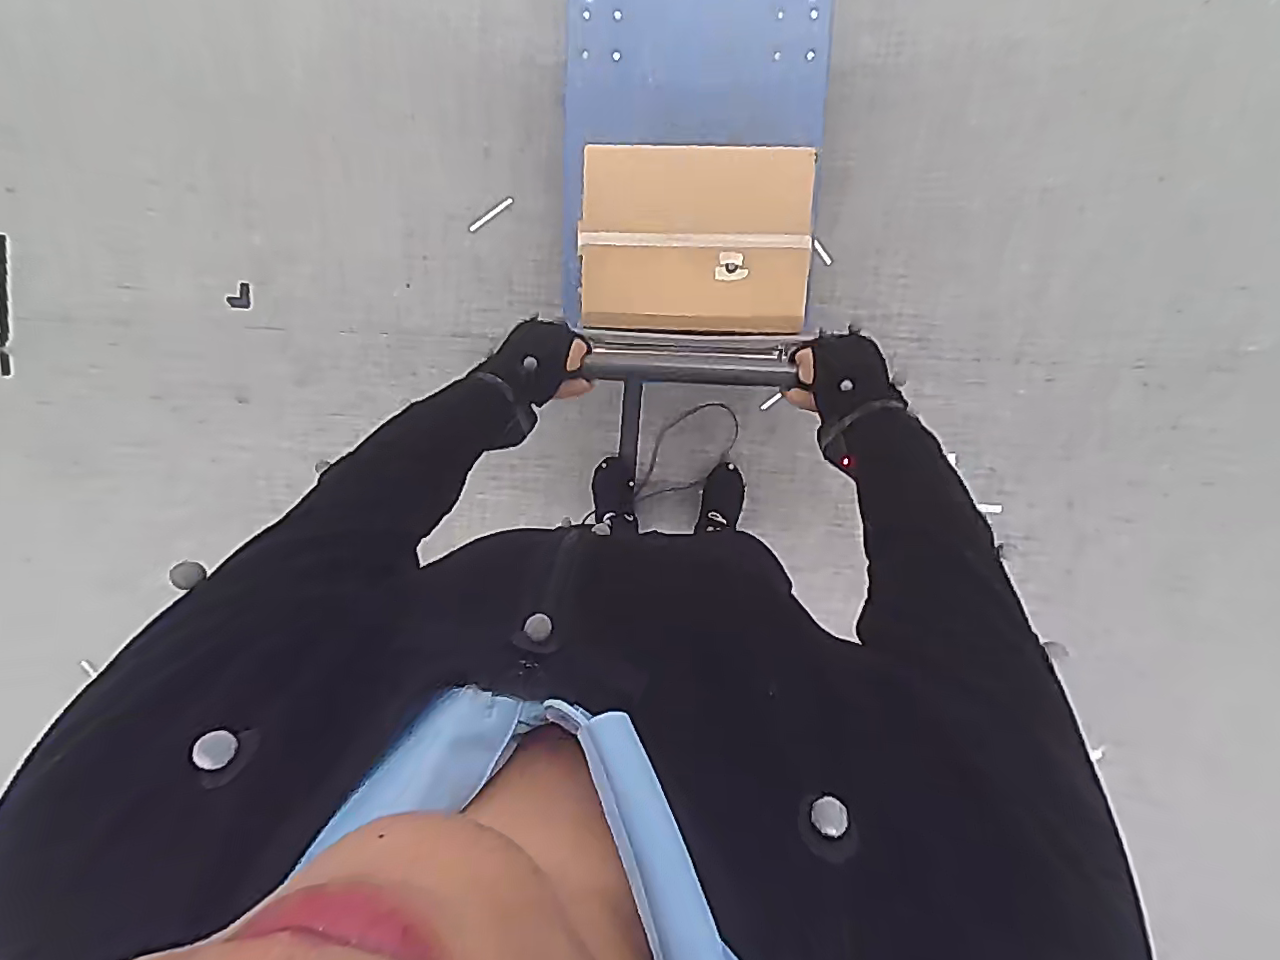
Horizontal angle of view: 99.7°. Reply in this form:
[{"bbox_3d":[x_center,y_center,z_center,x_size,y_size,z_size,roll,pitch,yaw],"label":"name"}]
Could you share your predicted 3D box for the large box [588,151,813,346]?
[{"bbox_3d":[0.109,-0.451,1.123,0.408,0.320,0.320,2,100,3],"label":"large box"}]
